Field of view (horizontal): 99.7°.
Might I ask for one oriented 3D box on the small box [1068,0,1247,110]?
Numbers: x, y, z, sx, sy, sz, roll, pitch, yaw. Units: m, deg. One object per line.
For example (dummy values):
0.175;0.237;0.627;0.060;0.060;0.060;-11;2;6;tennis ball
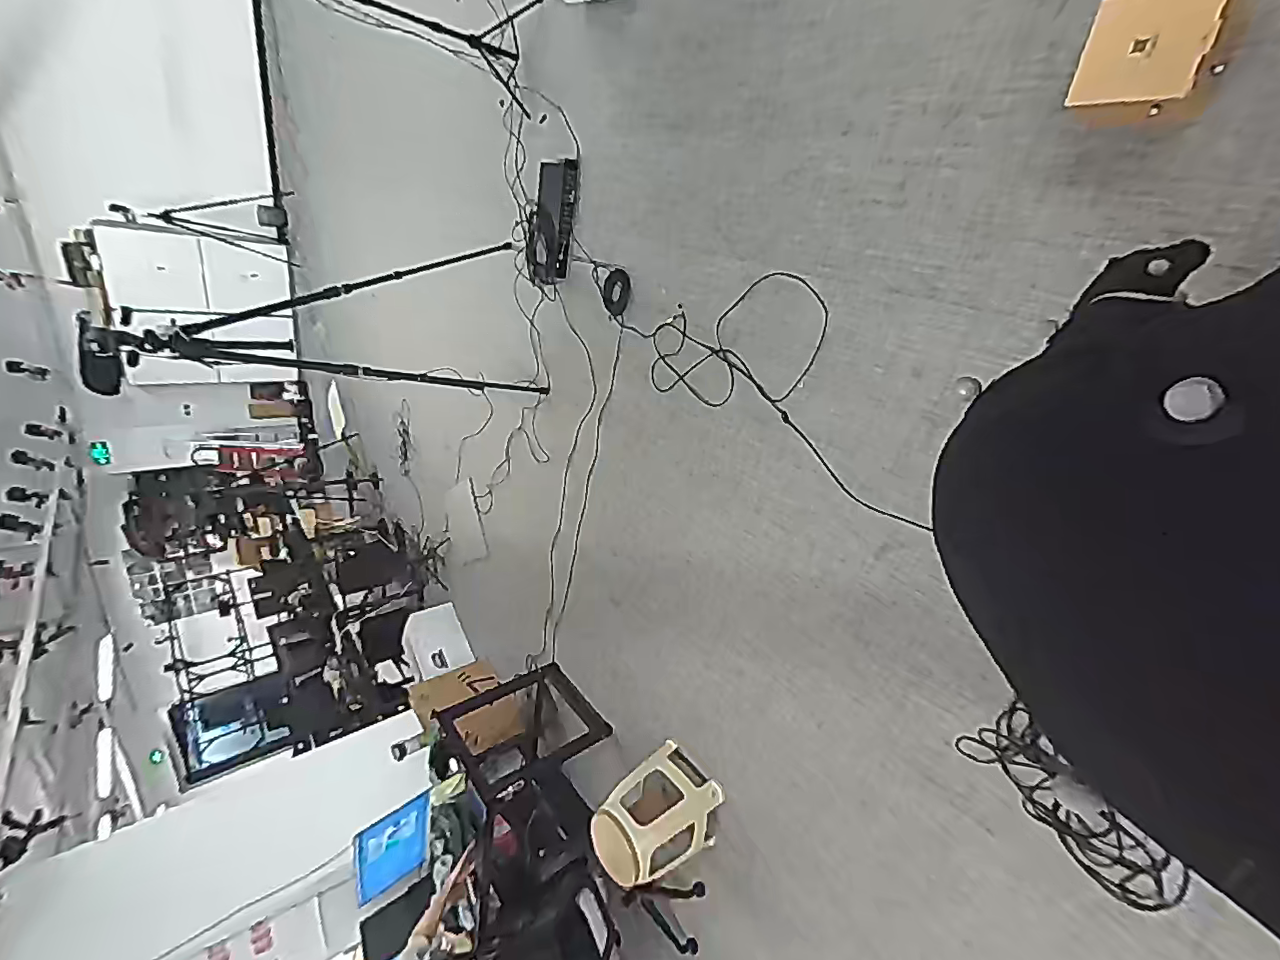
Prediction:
0.909;-0.772;0.952;0.179;0.176;0.168;29;122;42;small box
